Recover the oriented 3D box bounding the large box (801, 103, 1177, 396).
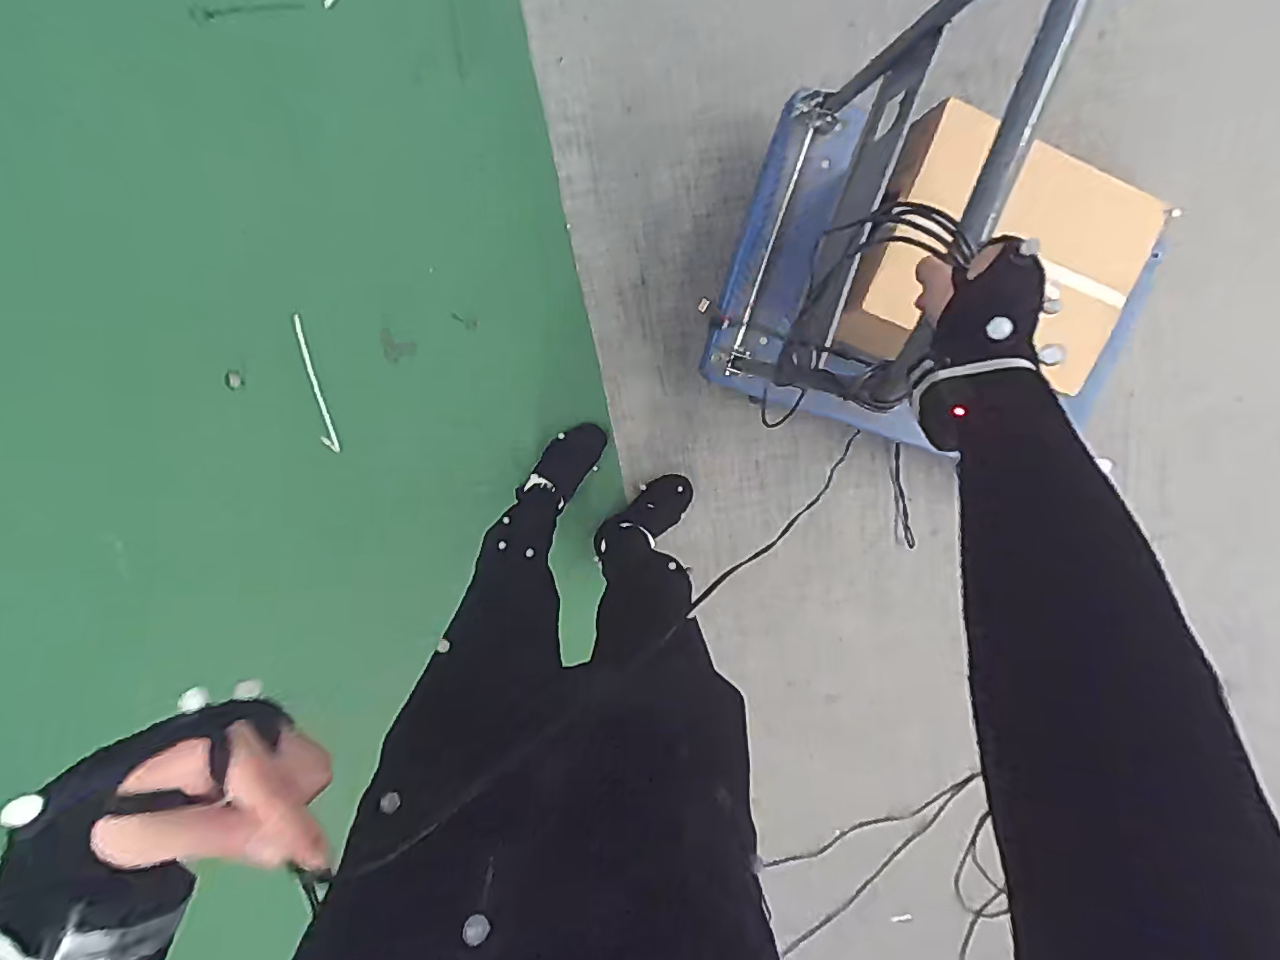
[{"bbox_3d":[0.569,-0.367,0.962,0.408,0.320,0.320,19,101,-9],"label":"large box"}]
